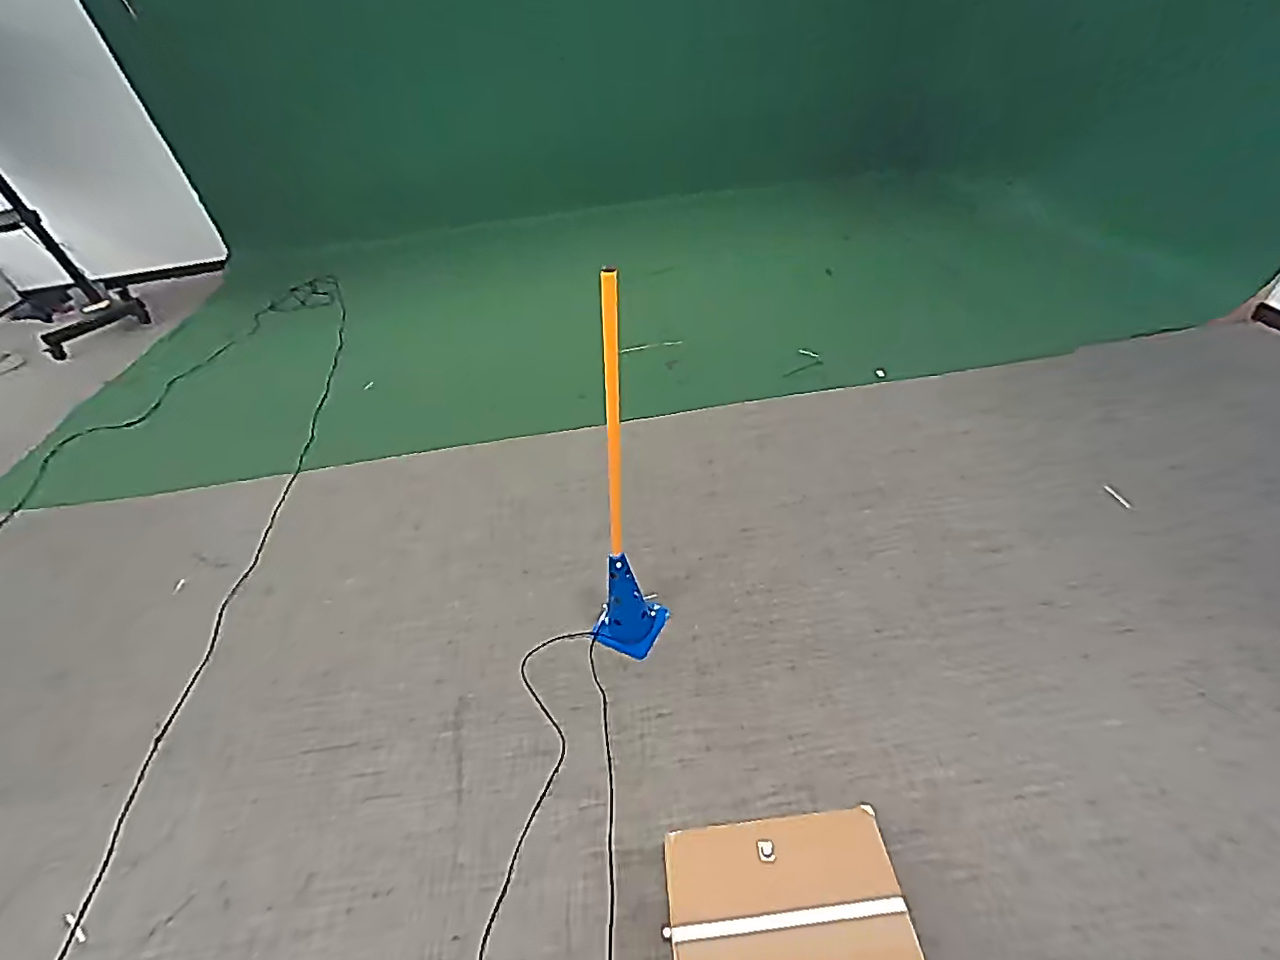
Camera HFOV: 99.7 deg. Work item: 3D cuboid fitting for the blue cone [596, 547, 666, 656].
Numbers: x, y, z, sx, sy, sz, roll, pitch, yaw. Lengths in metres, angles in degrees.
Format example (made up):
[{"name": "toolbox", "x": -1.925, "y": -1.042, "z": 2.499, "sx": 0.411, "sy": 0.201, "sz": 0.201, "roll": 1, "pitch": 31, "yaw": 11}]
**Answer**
[{"name": "blue cone", "x": -0.043, "y": 0.333, "z": 1.607, "sx": 0.192, "sy": 0.380, "sz": 0.193, "roll": 15, "pitch": 46, "yaw": 22}]
